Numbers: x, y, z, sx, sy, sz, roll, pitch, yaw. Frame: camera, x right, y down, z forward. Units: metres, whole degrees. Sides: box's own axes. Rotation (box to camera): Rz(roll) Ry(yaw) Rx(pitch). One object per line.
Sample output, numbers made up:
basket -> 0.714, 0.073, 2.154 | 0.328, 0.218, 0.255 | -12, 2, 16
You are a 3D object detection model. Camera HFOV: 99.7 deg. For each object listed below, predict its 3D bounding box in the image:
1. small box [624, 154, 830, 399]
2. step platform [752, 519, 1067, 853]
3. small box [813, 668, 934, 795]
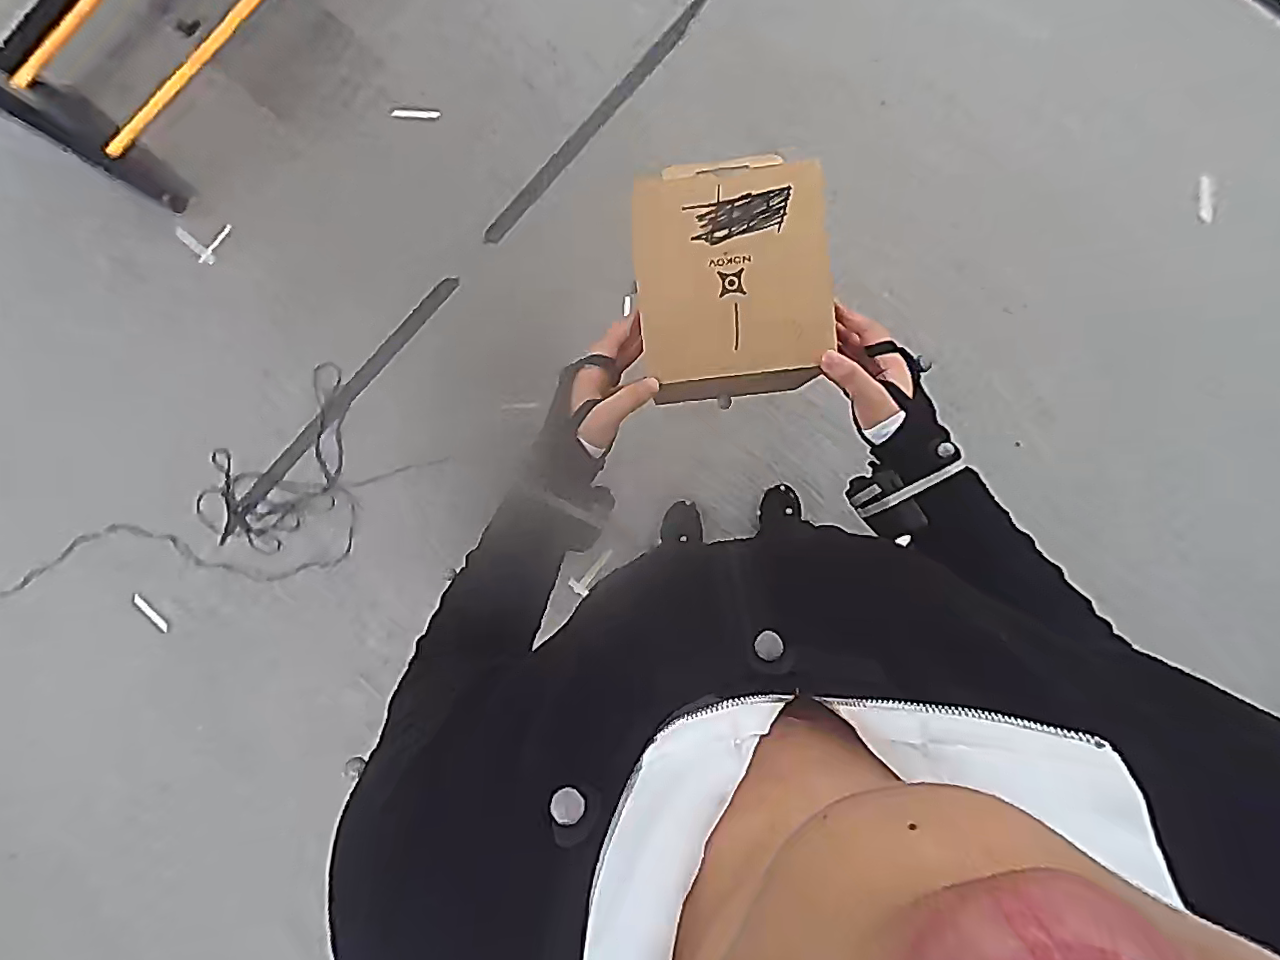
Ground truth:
small box -> 0.079, -0.186, 0.546 | 0.168, 0.176, 0.179 | -7, 92, 4
step platform -> 0.552, 0.415, 1.166 | 0.286, 0.204, 0.684 | 40, 91, 2
small box -> 0.497, 0.540, 1.200 | 0.179, 0.176, 0.168 | 39, 90, 3
